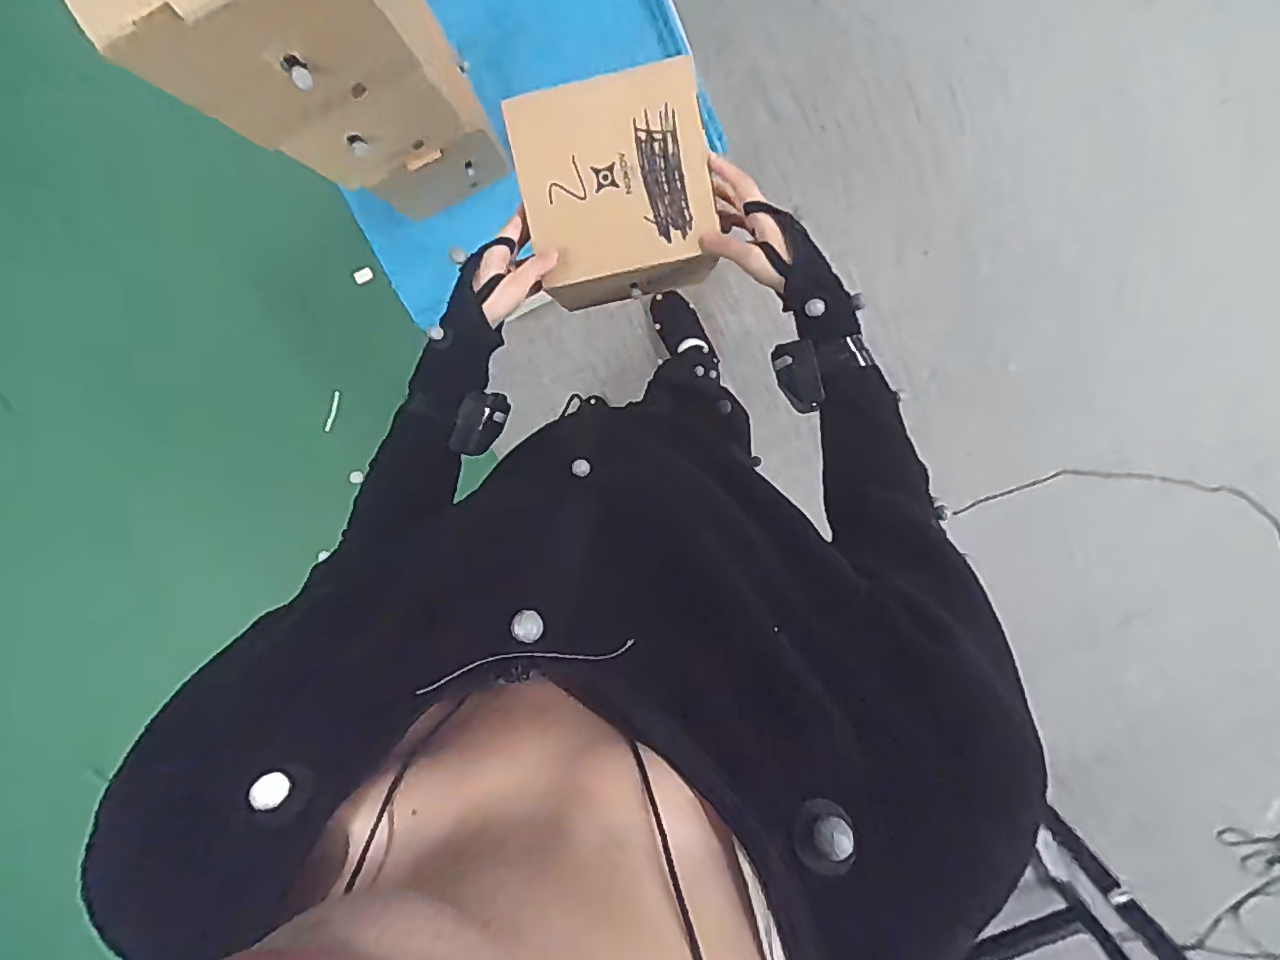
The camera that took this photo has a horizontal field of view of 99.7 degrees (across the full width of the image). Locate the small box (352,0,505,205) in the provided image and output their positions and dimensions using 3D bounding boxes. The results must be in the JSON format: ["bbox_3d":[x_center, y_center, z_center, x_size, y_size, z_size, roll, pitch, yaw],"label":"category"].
[{"bbox_3d":[-0.295,-0.480,0.695,0.168,0.176,0.179,-23,101,4],"label":"small box"}]

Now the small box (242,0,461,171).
[{"bbox_3d":[-0.306,-0.439,0.538,0.168,0.176,0.179,-22,101,4],"label":"small box"}]

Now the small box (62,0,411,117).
[{"bbox_3d":[-0.296,-0.395,0.380,0.168,0.176,0.179,-22,102,4],"label":"small box"}]
